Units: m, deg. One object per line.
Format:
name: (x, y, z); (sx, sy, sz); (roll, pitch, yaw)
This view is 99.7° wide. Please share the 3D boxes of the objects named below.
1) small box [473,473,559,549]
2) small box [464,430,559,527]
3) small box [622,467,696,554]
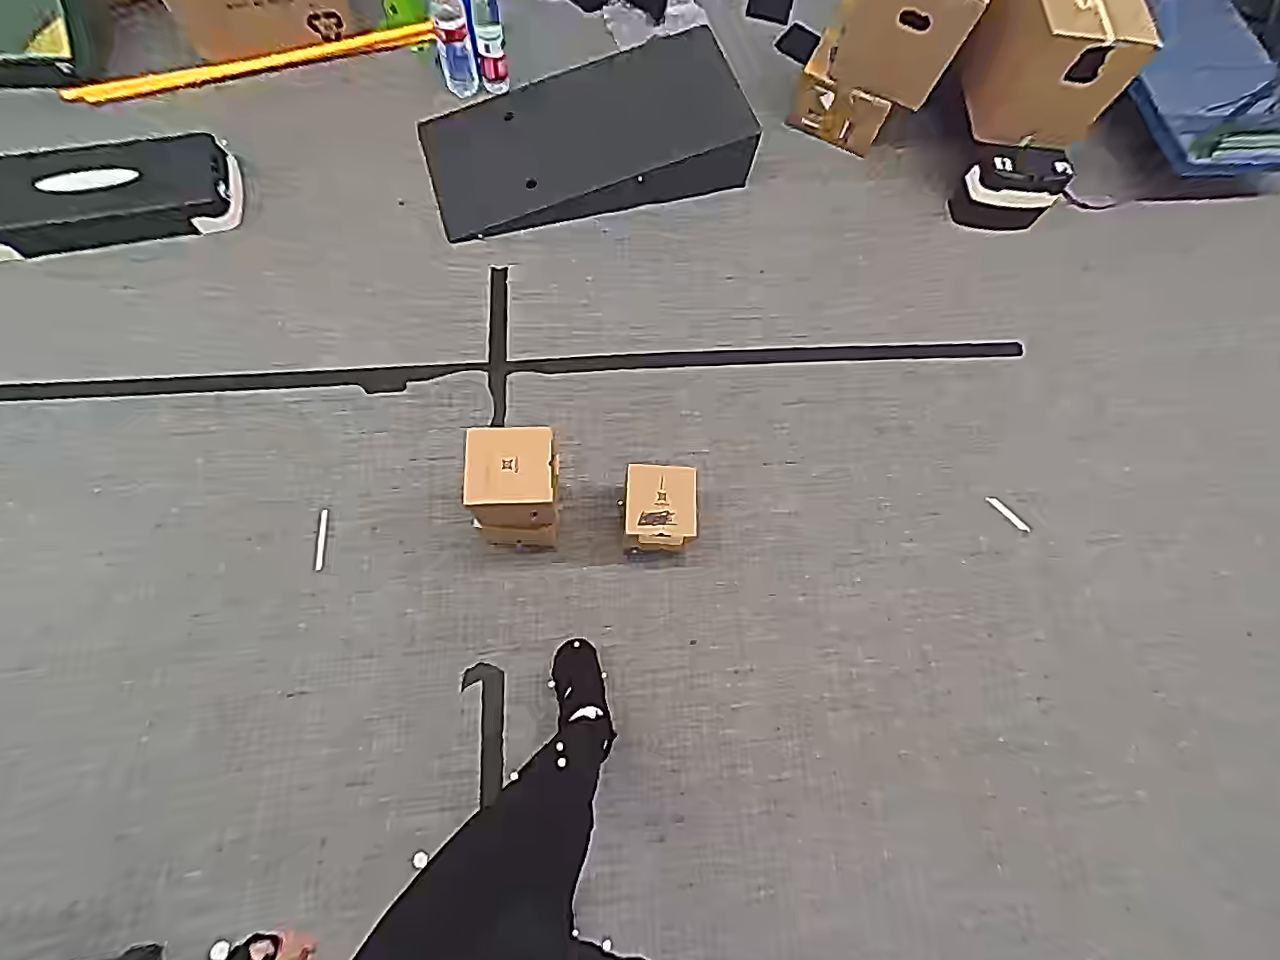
small box: (-0.288, 0.067, 1.299); (0.179, 0.176, 0.168); (3, 71, -5)
small box: (-0.264, 0.001, 1.150); (0.179, 0.176, 0.168); (-1, 71, -5)
small box: (0.043, 0.081, 1.327); (0.168, 0.176, 0.179); (3, 70, -5)
